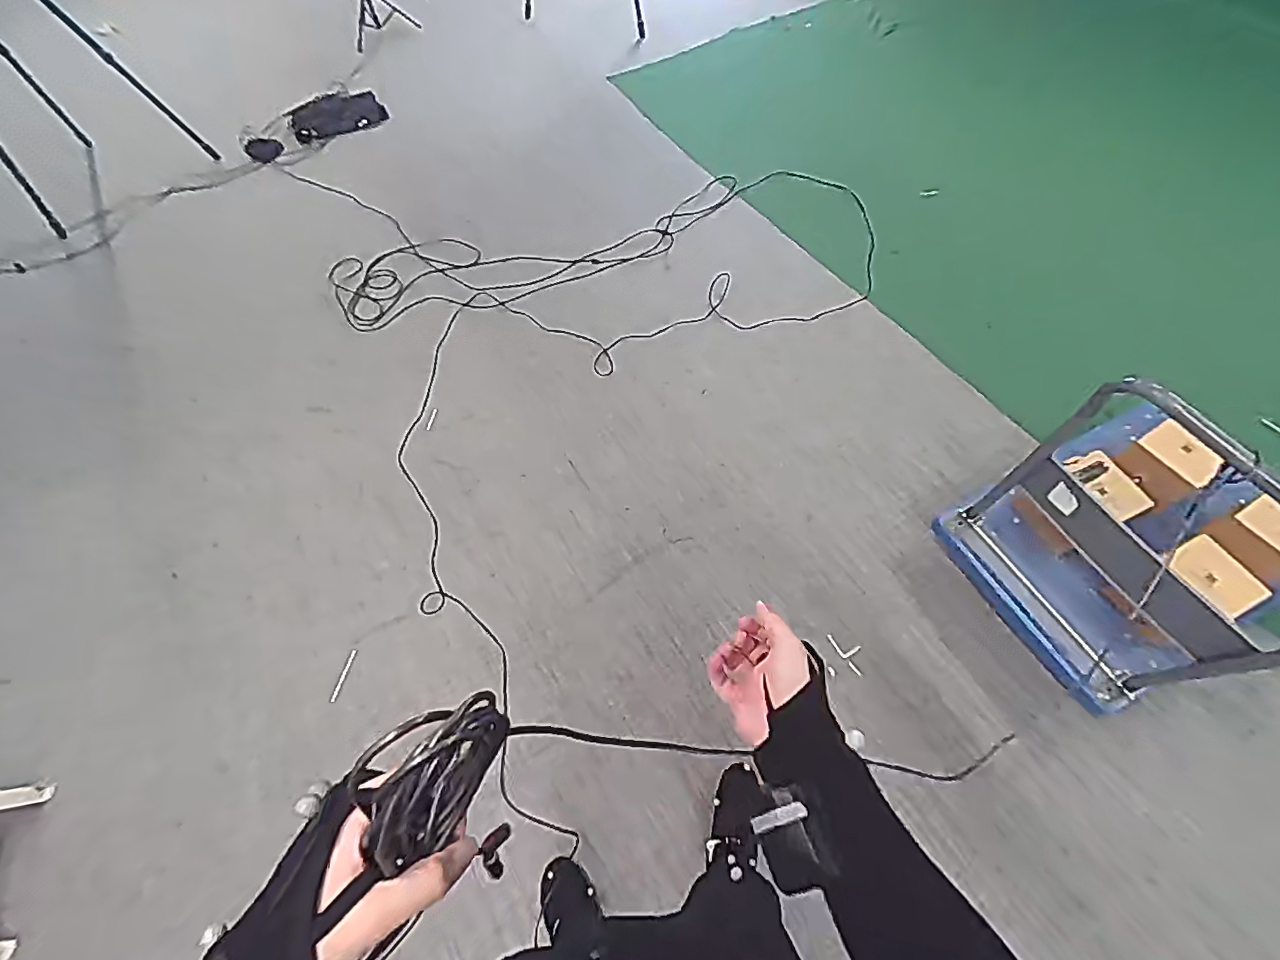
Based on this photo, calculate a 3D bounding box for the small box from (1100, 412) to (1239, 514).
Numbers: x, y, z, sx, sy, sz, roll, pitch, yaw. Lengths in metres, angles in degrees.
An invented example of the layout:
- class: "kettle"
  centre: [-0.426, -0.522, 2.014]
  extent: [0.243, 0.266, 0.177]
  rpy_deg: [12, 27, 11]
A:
- class: "small box"
  centre: [1.375, -0.039, 1.424]
  extent: [0.179, 0.176, 0.168]
  rpy_deg: [-29, 63, -12]

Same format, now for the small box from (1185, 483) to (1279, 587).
- class: "small box"
  centre: [1.506, 0.143, 1.310]
  extent: [0.179, 0.176, 0.168]
  rpy_deg: [-30, 62, -11]

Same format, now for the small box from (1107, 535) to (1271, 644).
- class: "small box"
  centre: [1.267, 0.261, 1.265]
  extent: [0.179, 0.176, 0.168]
  rpy_deg: [-25, 62, -9]
